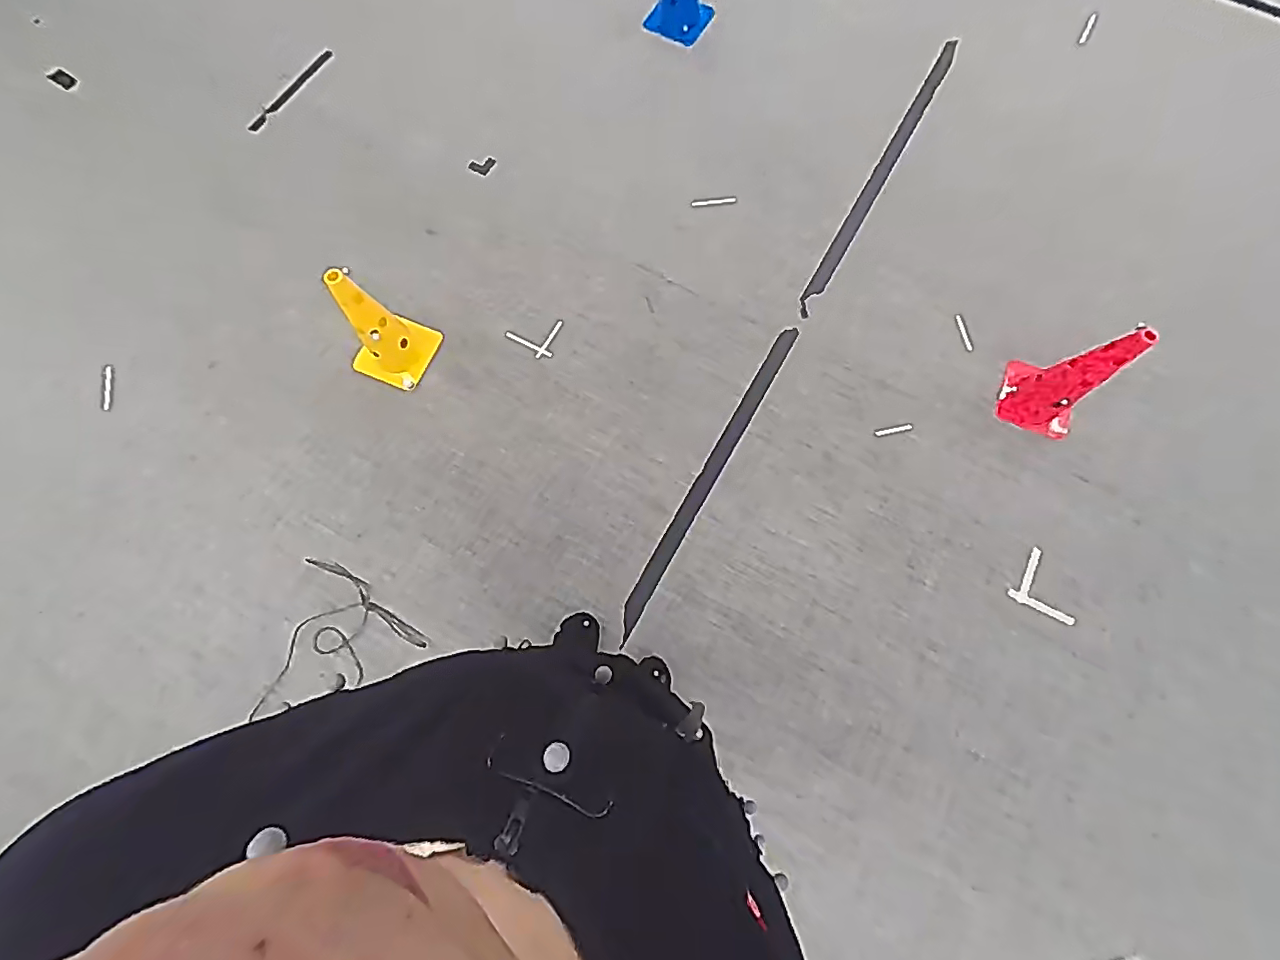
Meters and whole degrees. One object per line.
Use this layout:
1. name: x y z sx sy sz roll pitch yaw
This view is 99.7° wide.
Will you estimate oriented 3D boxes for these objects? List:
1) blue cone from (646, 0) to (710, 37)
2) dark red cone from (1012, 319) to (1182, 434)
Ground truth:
1. blue cone: 0.132 -1.670 1.725 0.192 0.380 0.193 29 77 8
2. dark red cone: 1.137 -0.279 1.334 0.201 0.394 0.202 21 76 6
